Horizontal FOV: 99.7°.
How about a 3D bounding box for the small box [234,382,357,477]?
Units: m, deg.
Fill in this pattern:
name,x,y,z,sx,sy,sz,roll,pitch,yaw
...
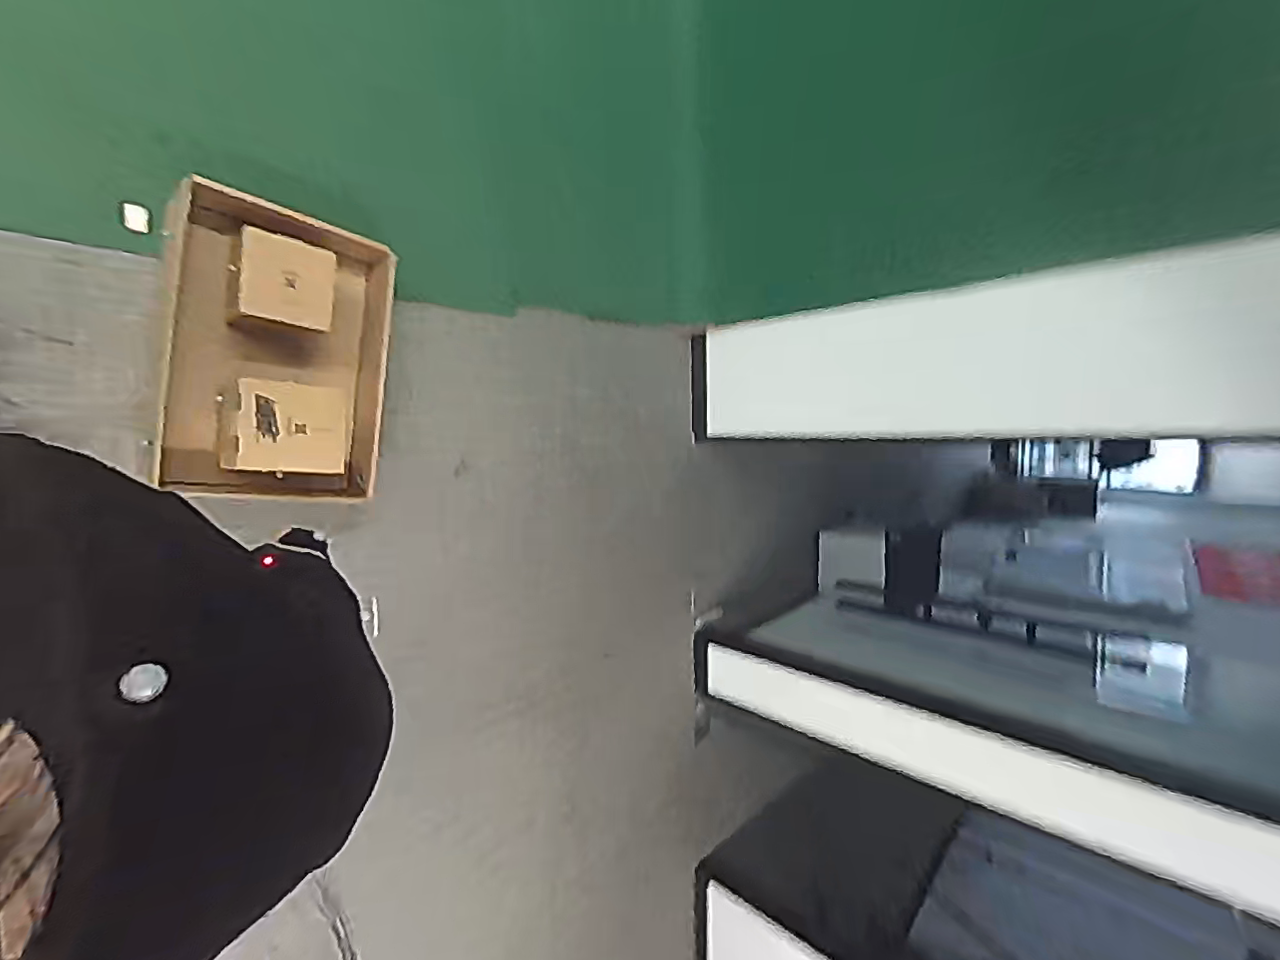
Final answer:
name,x,y,z,sx,sy,sz,roll,pitch,yaw
small box,-0.684,-0.092,1.071,0.179,0.176,0.168,3,91,-45
